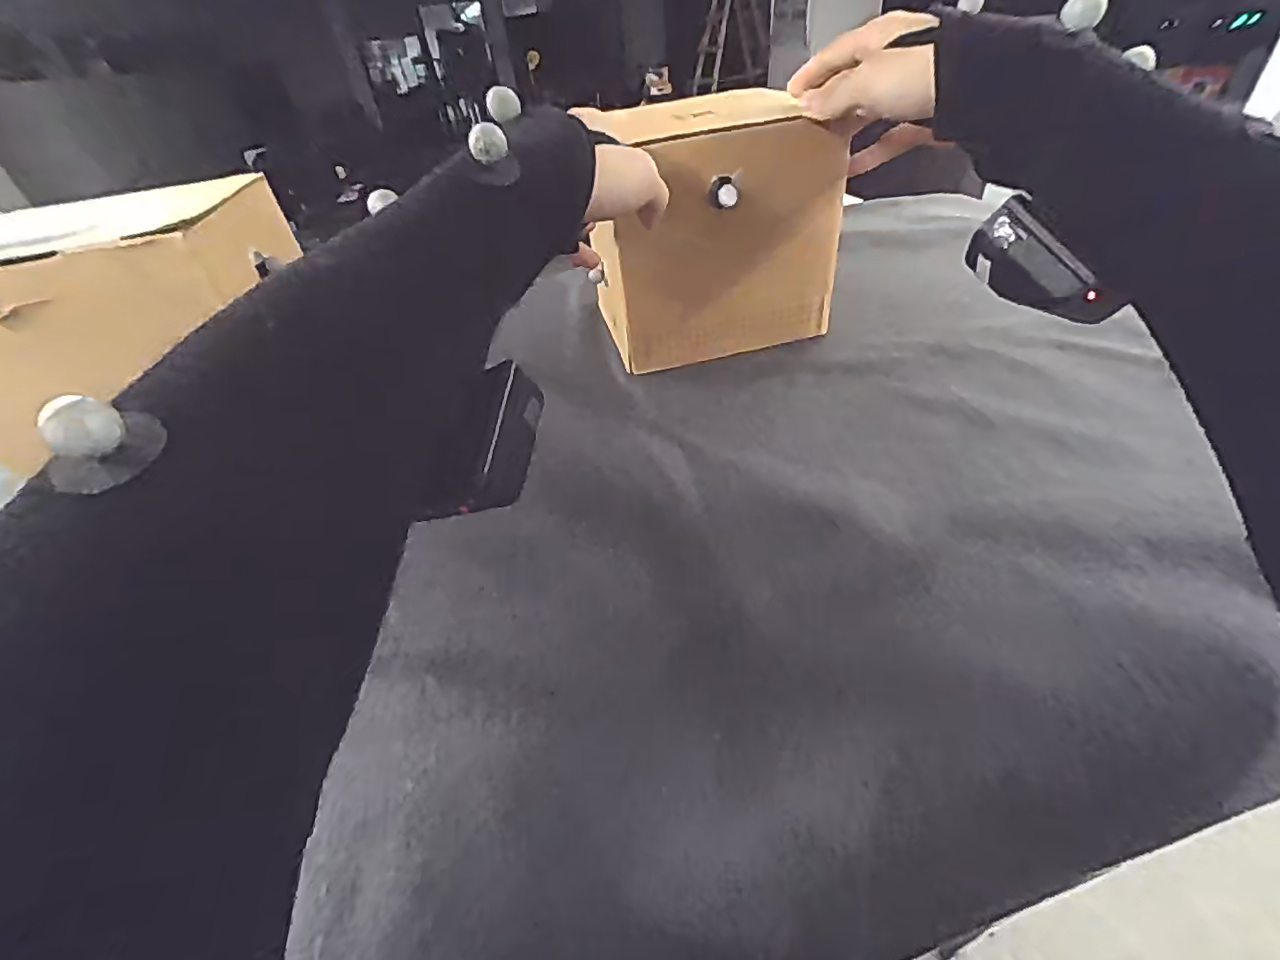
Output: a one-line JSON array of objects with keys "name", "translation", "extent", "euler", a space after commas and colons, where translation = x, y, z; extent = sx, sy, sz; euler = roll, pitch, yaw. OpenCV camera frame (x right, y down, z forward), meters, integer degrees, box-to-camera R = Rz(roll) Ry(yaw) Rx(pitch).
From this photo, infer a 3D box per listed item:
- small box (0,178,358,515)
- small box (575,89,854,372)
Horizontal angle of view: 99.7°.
[{"name": "small box", "translation": [-0.325, -0.094, 0.385], "extent": [0.168, 0.176, 0.179], "euler": [-15, 39, -9]}, {"name": "small box", "translation": [0.053, -0.215, 0.465], "extent": [0.179, 0.176, 0.168], "euler": [-14, 40, -5]}]
